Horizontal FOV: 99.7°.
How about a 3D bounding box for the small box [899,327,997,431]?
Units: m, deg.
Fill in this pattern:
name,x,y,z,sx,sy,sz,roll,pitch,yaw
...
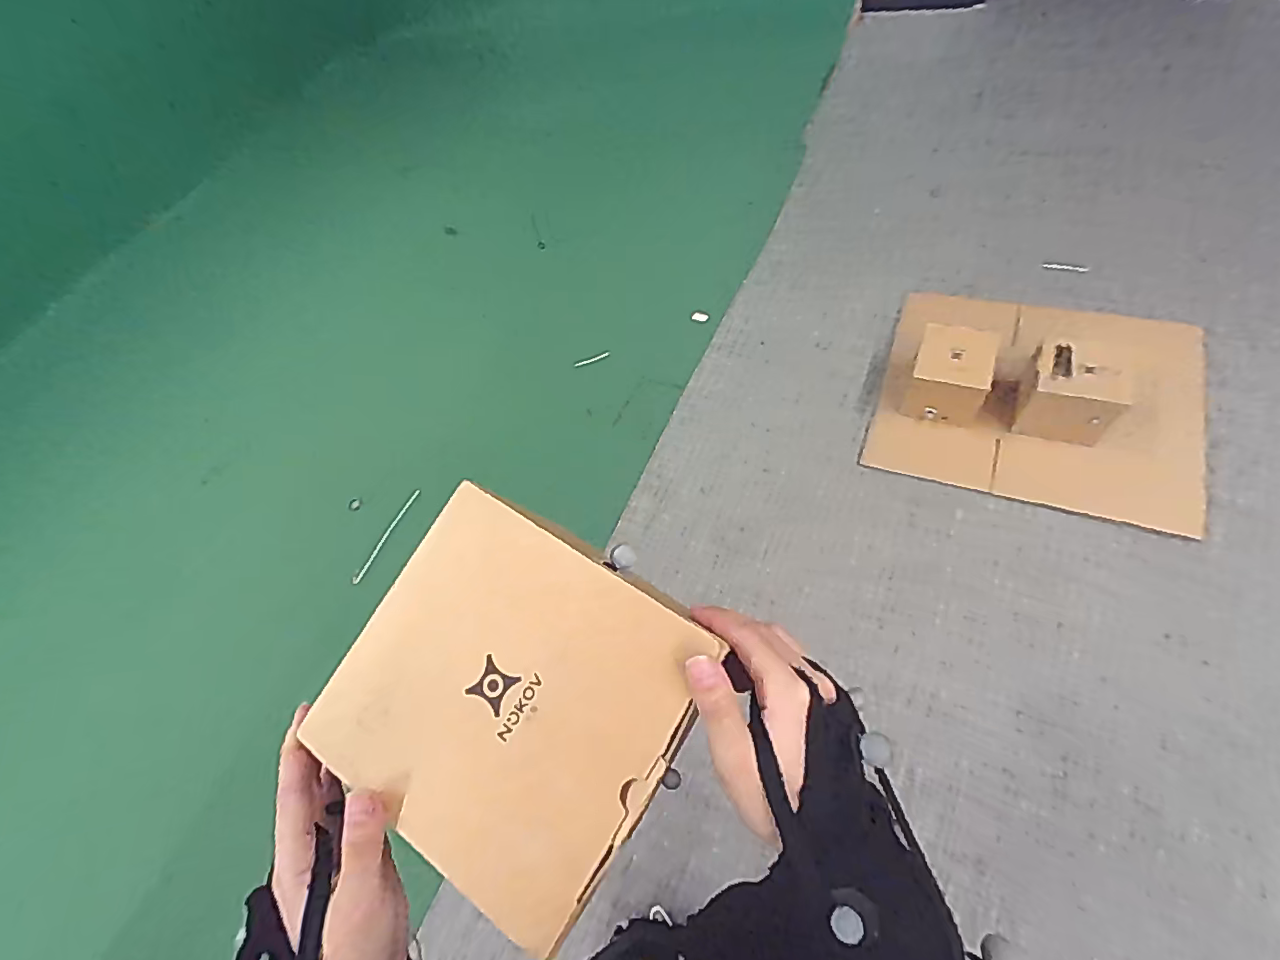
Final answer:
name,x,y,z,sx,sy,sz,roll,pitch,yaw
small box,0.763,-0.251,1.354,0.168,0.176,0.179,15,68,22
